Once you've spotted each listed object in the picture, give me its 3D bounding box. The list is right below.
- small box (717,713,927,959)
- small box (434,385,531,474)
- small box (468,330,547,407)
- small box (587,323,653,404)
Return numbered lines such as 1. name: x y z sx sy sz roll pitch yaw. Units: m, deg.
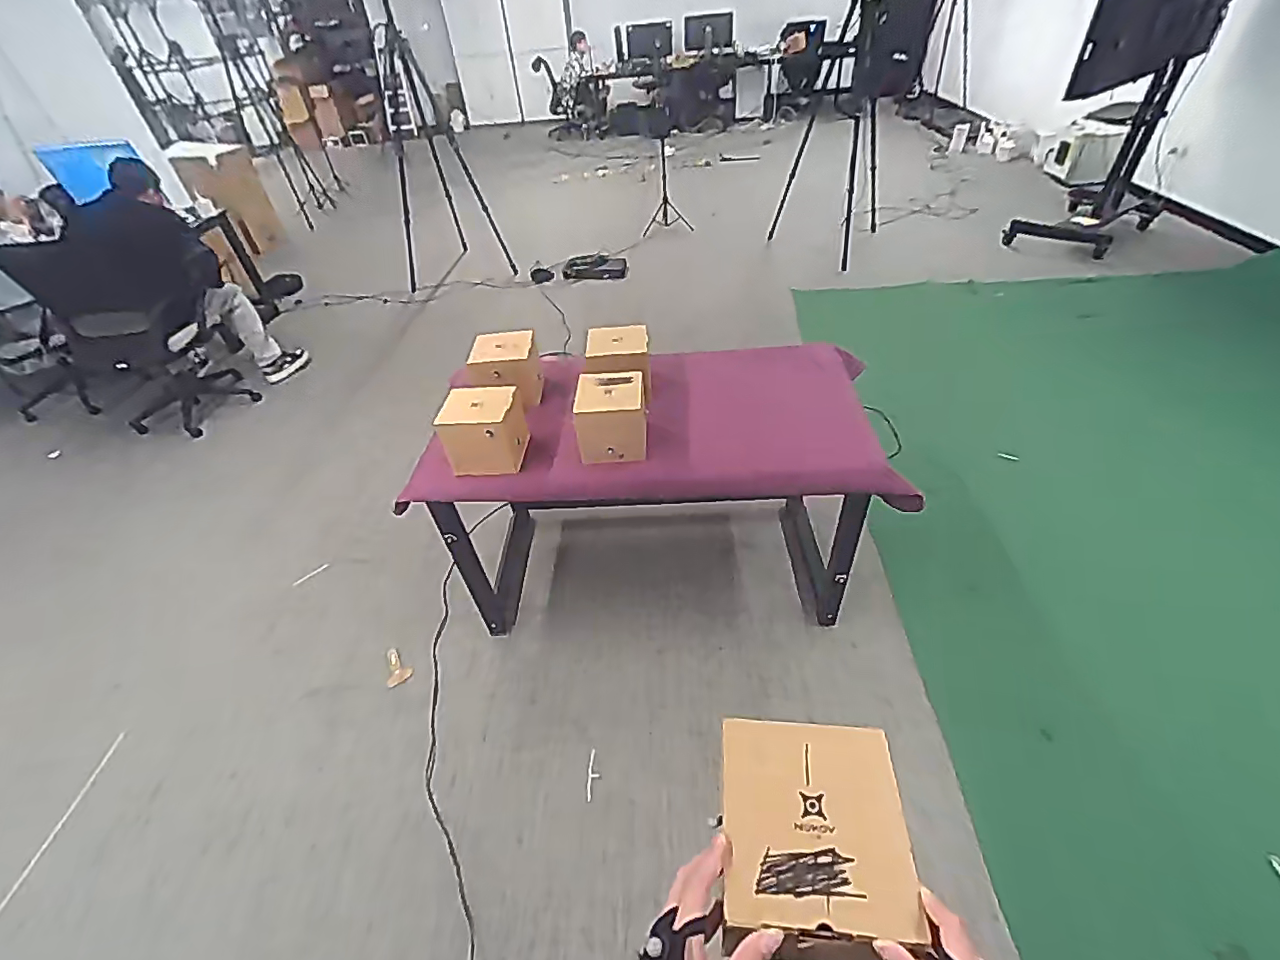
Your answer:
1. small box: 0.163 0.363 0.545 0.168 0.176 0.179 0 42 8
2. small box: -0.399 -0.128 1.402 0.179 0.176 0.168 -2 41 5
3. small box: -0.389 -0.327 1.614 0.179 0.176 0.168 -4 43 2
4. small box: -0.052 -0.341 1.589 0.179 0.176 0.168 -4 42 4
